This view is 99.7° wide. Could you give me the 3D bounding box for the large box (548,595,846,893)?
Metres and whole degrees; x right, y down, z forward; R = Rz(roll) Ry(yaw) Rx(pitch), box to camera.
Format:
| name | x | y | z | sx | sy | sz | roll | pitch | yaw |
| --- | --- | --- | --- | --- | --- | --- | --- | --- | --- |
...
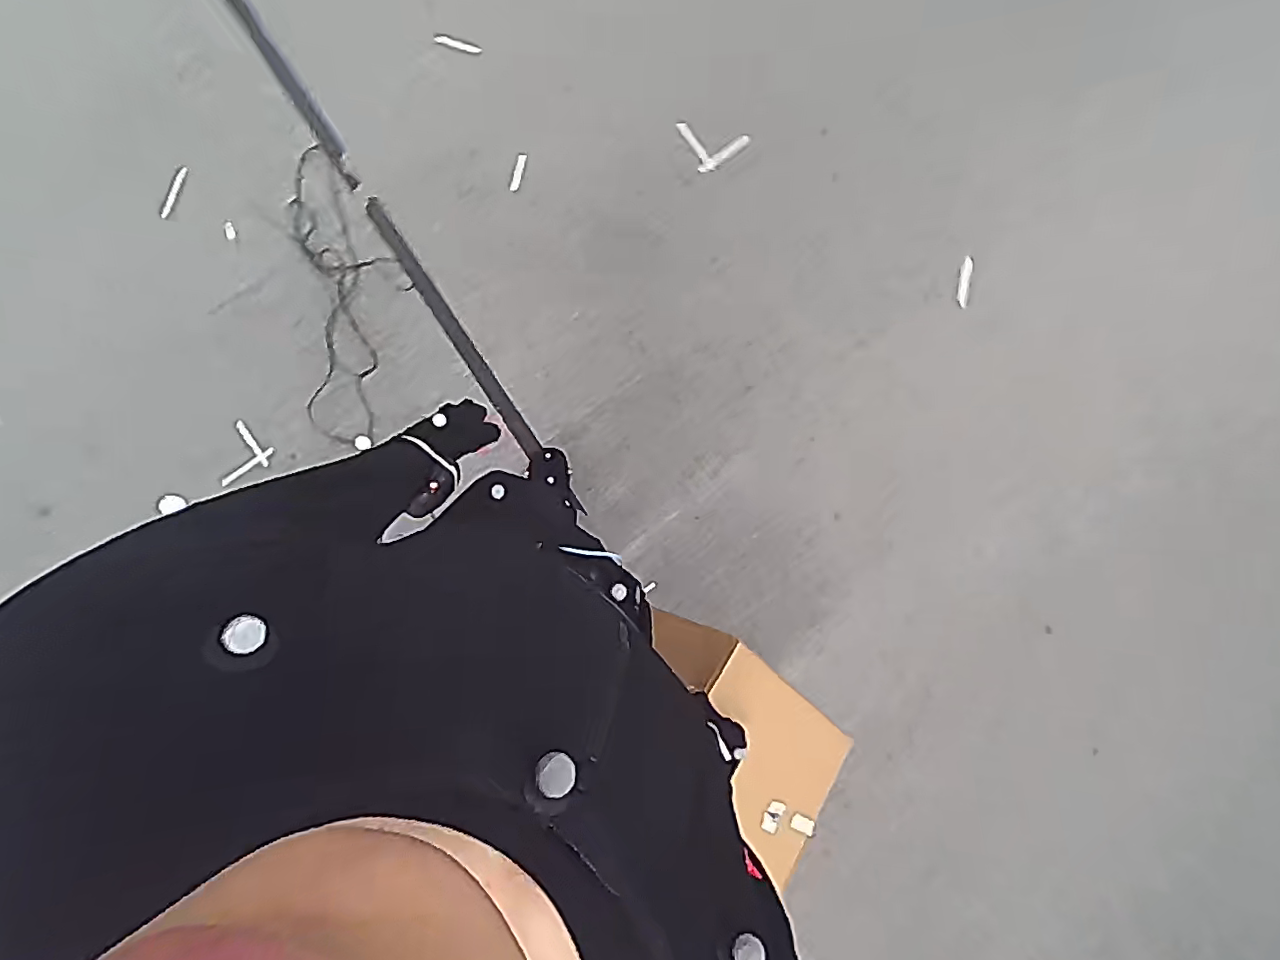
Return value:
| name | x | y | z | sx | sy | sz | roll | pitch | yaw |
| --- | --- | --- | --- | --- | --- | --- | --- | --- | --- |
| large box | 0.089 | 0.451 | 1.013 | 0.320 | 0.408 | 0.320 | 42 | 70 | -18 |
